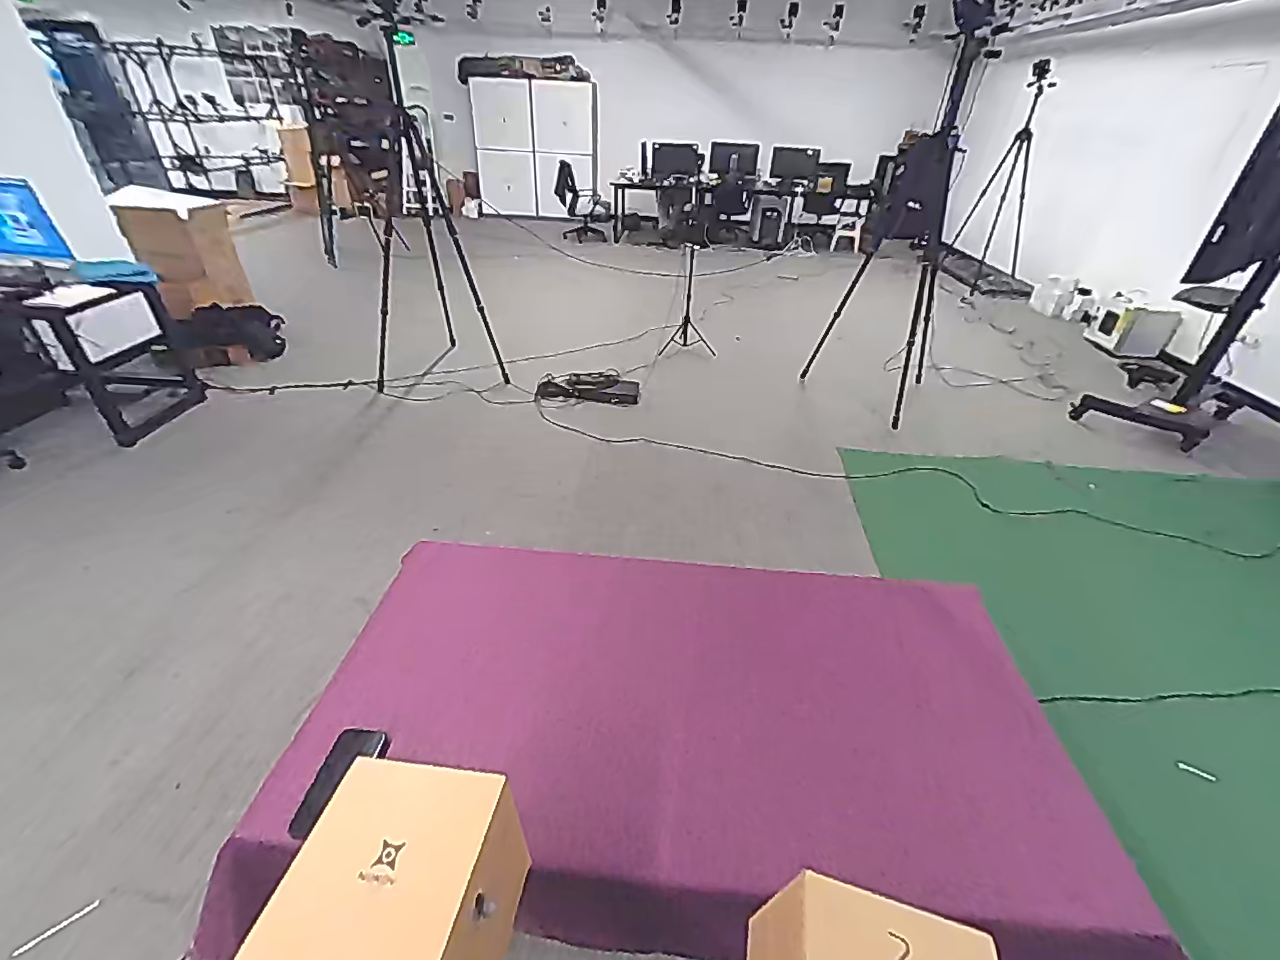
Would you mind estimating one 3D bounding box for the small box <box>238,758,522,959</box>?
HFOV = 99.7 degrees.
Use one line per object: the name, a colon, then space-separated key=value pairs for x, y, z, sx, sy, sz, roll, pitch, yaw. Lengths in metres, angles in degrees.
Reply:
small box: x=-0.221 y=0.406 z=0.519 sx=0.168 sy=0.176 sz=0.179 roll=3 pitch=33 yaw=8
